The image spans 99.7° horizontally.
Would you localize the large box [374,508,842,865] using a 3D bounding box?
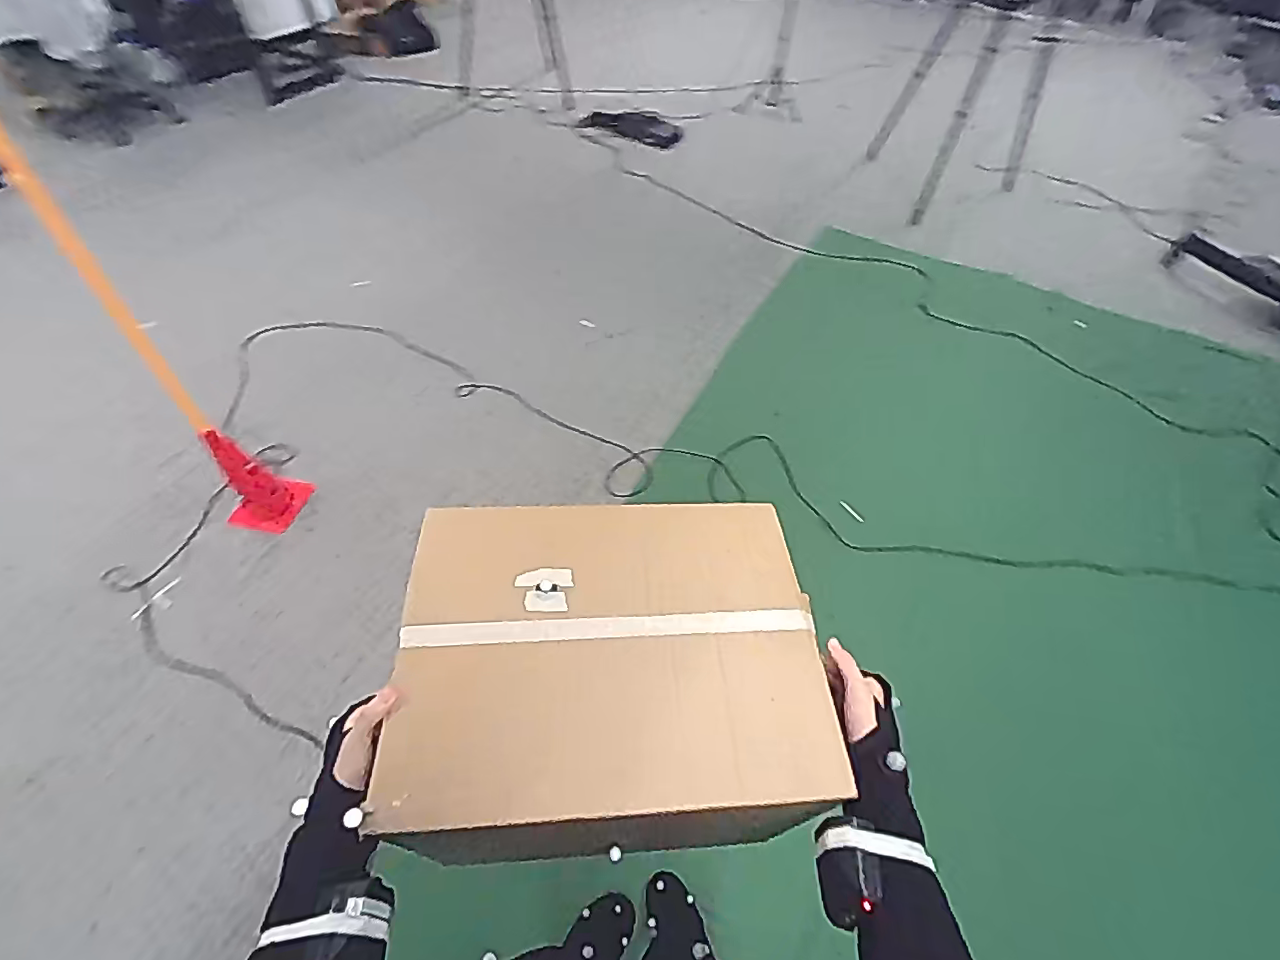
[{"bbox_3d":[-0.039,0.254,0.660,0.408,0.320,0.320,-2,50,-6],"label":"large box"}]
